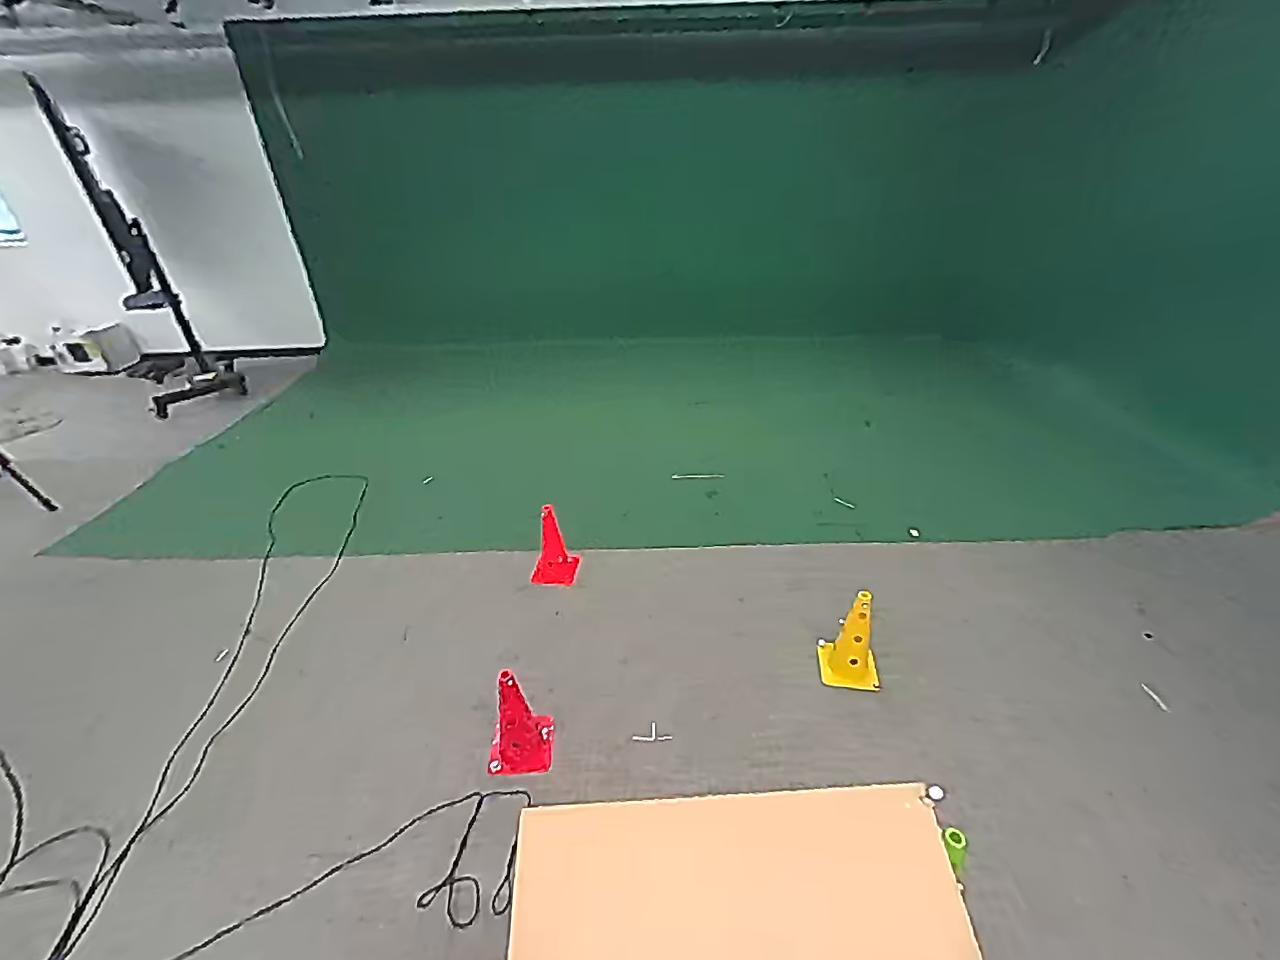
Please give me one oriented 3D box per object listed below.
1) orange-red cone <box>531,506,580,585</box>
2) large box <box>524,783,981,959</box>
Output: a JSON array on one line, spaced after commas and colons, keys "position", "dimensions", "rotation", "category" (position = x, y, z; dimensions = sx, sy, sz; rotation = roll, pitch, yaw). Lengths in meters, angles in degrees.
[{"position": [-0.402, 0.274, 2.429], "dimensions": [0.199, 0.360, 0.198], "rotation": [1, 31, 8], "category": "orange-red cone"}, {"position": [0.103, 0.536, 0.568], "dimensions": [0.408, 0.320, 0.320], "rotation": [-5, 52, 0], "category": "large box"}]
